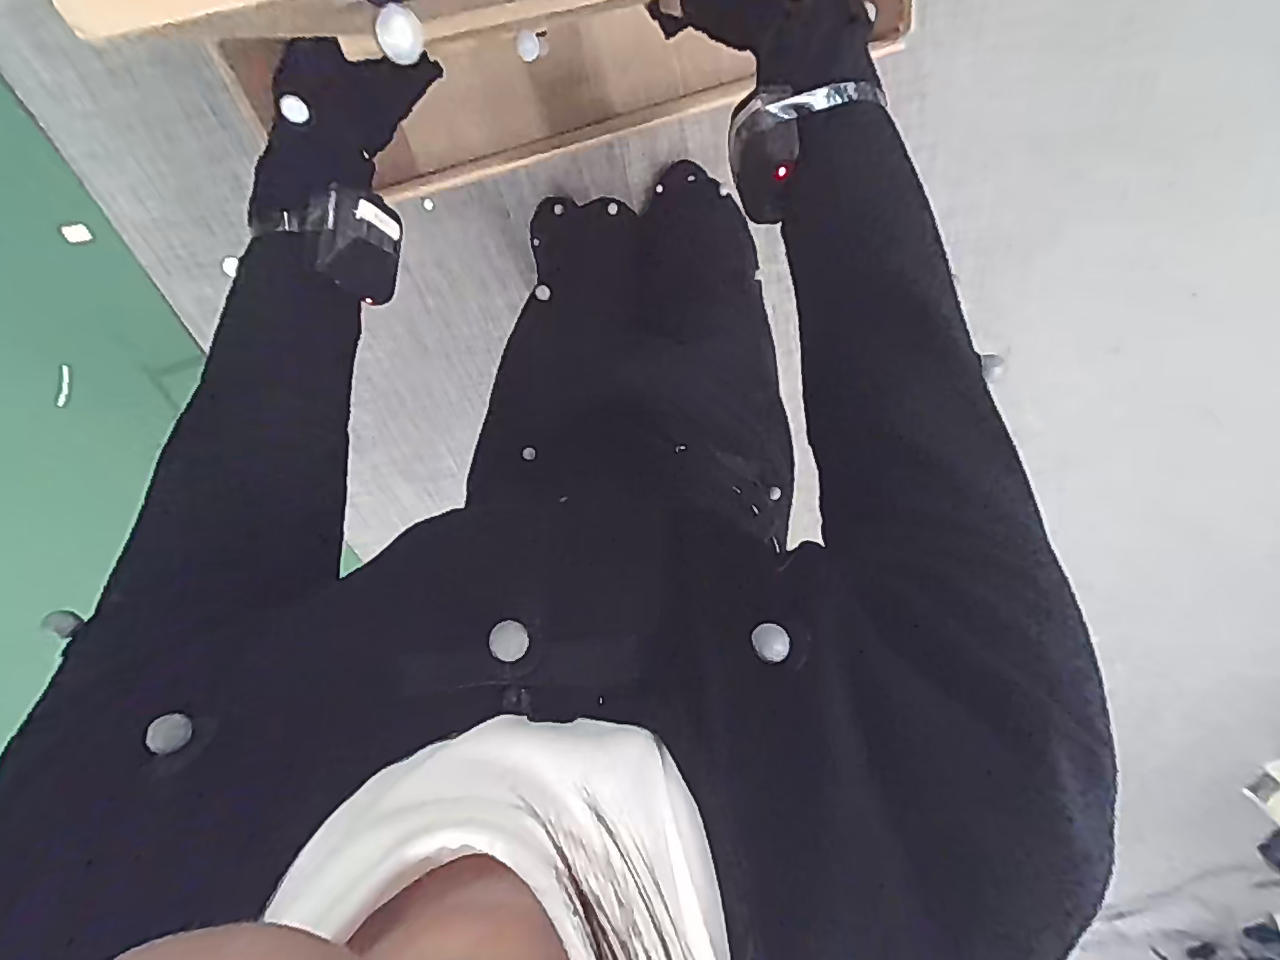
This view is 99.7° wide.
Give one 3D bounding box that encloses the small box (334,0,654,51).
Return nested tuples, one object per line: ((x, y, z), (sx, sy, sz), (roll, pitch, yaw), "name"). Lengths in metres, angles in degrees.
((-0.080, -0.332, 0.263), (0.168, 0.176, 0.179), (-10, 130, 3), "small box")

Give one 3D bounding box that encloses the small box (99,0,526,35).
((-0.068, -0.236, 0.130), (0.168, 0.176, 0.179), (-10, 128, 4), "small box")

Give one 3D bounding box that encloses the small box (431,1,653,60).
((-0.092, -0.434, 0.392), (0.168, 0.176, 0.179), (-12, 131, 6), "small box")
